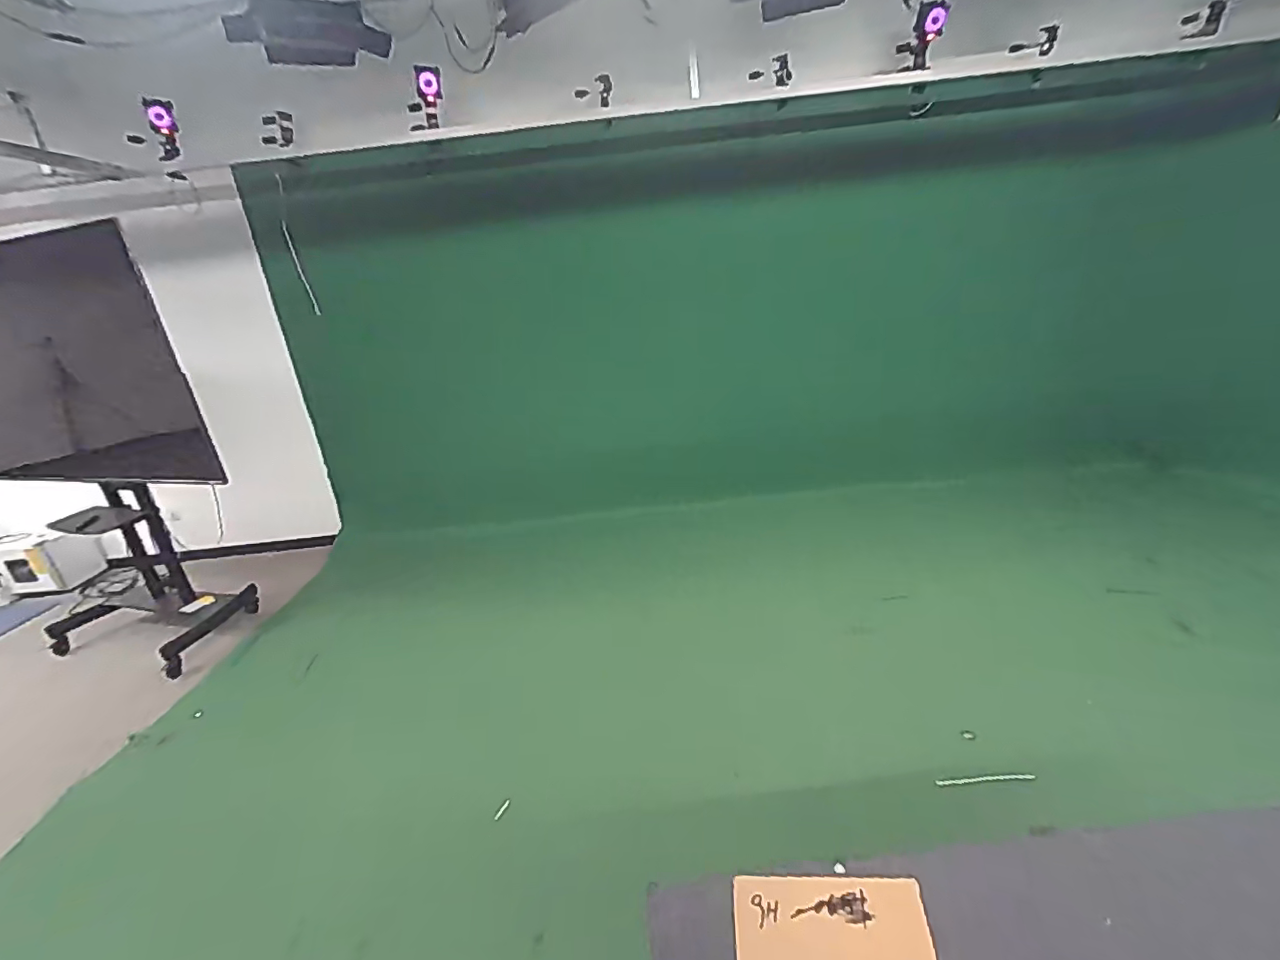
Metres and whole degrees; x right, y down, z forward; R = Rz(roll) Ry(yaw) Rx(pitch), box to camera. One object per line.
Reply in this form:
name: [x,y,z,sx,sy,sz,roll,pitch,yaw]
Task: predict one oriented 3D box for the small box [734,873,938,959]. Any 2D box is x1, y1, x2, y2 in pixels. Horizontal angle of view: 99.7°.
small box: [0.183,0.478,0.488,0.168,0.176,0.179,-8,43,12]
